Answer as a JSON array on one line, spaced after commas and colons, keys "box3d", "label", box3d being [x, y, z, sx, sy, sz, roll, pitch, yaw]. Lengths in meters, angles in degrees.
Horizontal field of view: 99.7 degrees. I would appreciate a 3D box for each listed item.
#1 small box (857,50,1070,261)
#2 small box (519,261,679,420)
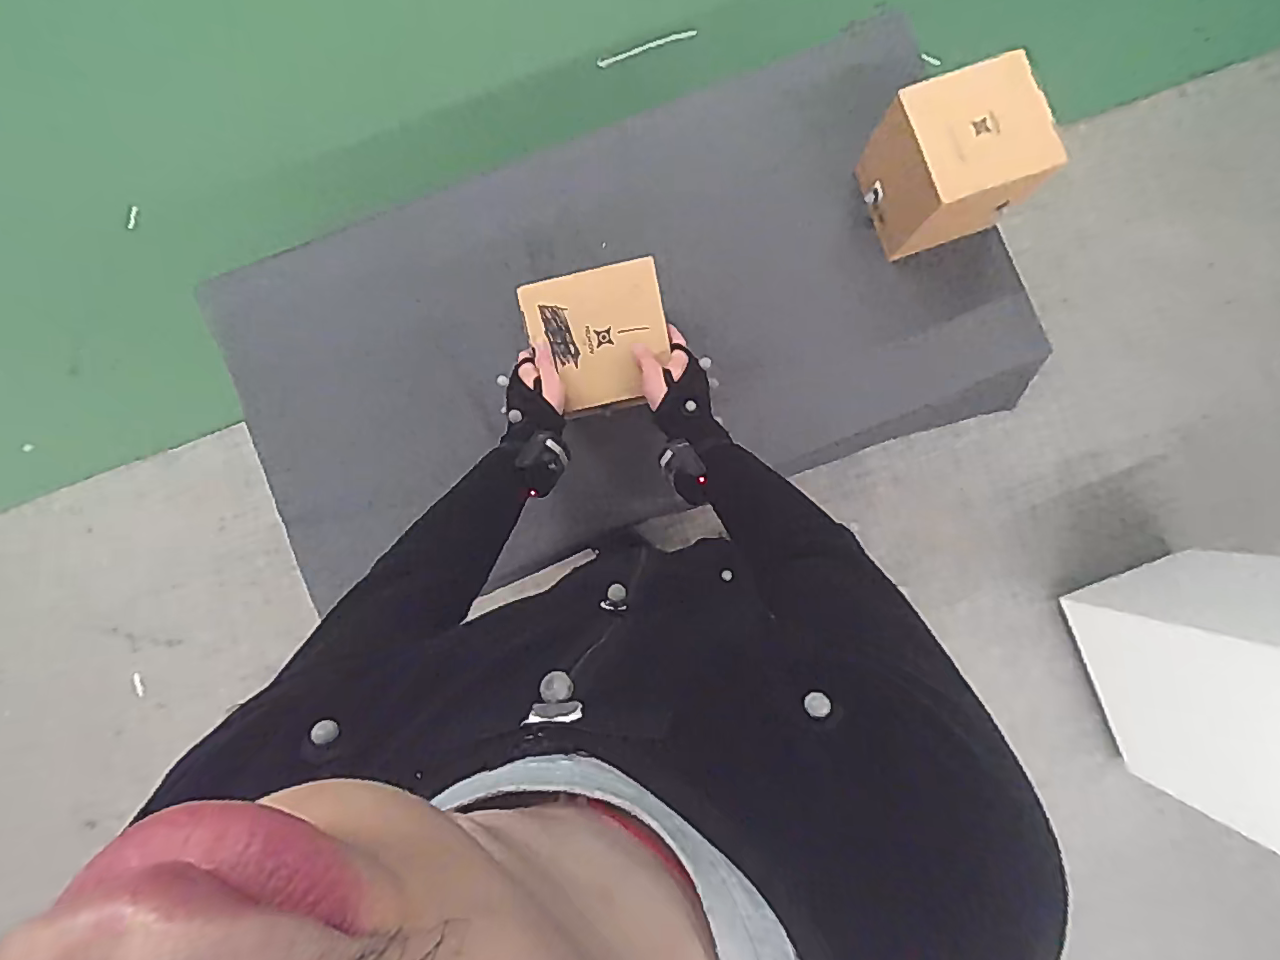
[{"box3d": [0.444, -0.447, 0.772, 0.179, 0.176, 0.168, -20, 86, 1], "label": "small box"}, {"box3d": [-0.045, -0.177, 0.743, 0.179, 0.176, 0.168, -11, 95, 5], "label": "small box"}]
